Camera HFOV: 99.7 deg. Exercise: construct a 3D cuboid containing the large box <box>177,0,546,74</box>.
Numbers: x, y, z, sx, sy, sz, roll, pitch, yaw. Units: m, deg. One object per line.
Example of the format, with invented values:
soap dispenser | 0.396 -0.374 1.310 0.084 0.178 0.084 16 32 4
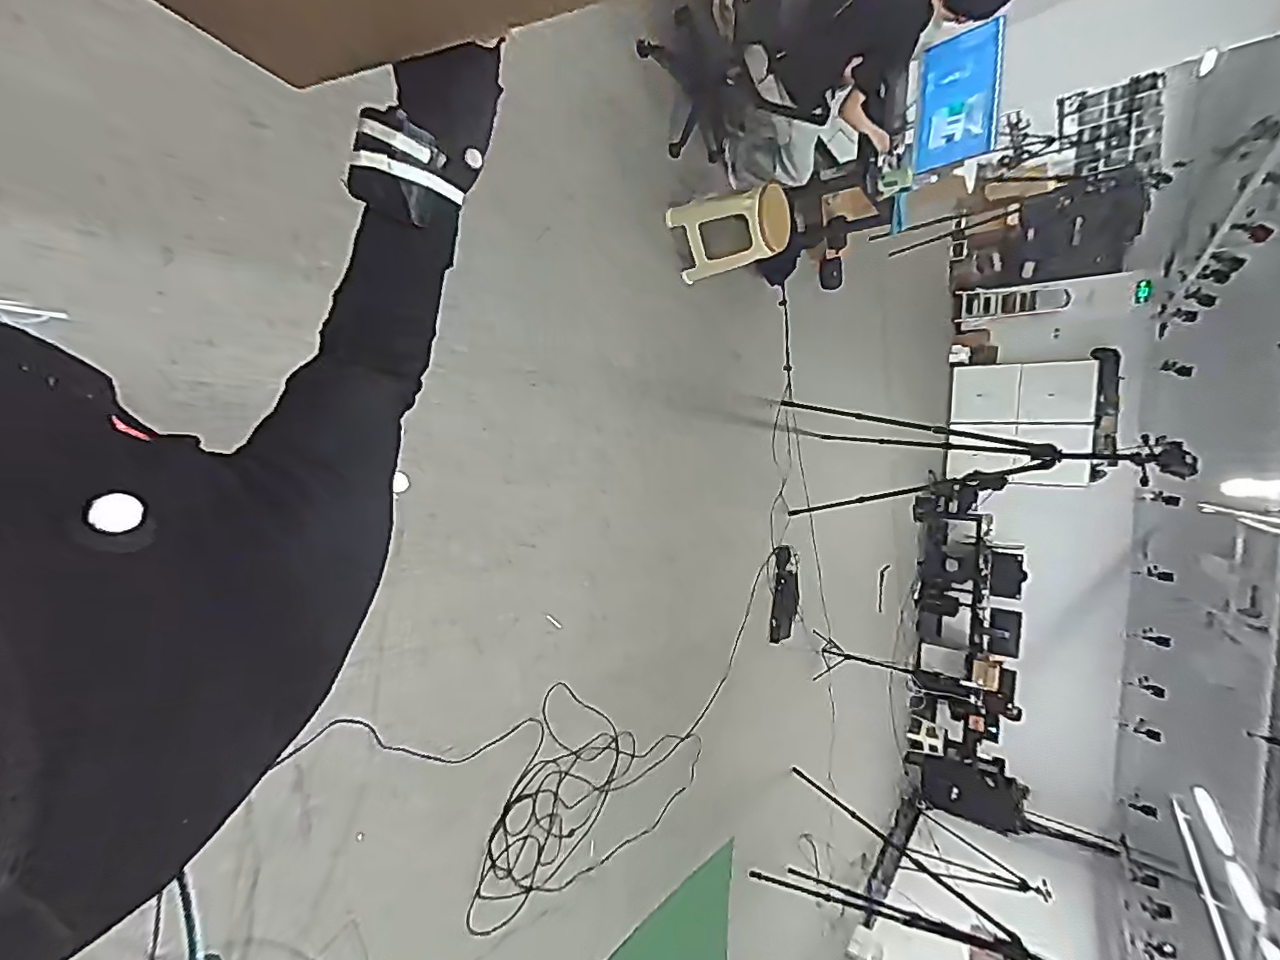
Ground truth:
large box | -0.197 -0.422 0.150 0.408 0.320 0.320 1 100 -62
